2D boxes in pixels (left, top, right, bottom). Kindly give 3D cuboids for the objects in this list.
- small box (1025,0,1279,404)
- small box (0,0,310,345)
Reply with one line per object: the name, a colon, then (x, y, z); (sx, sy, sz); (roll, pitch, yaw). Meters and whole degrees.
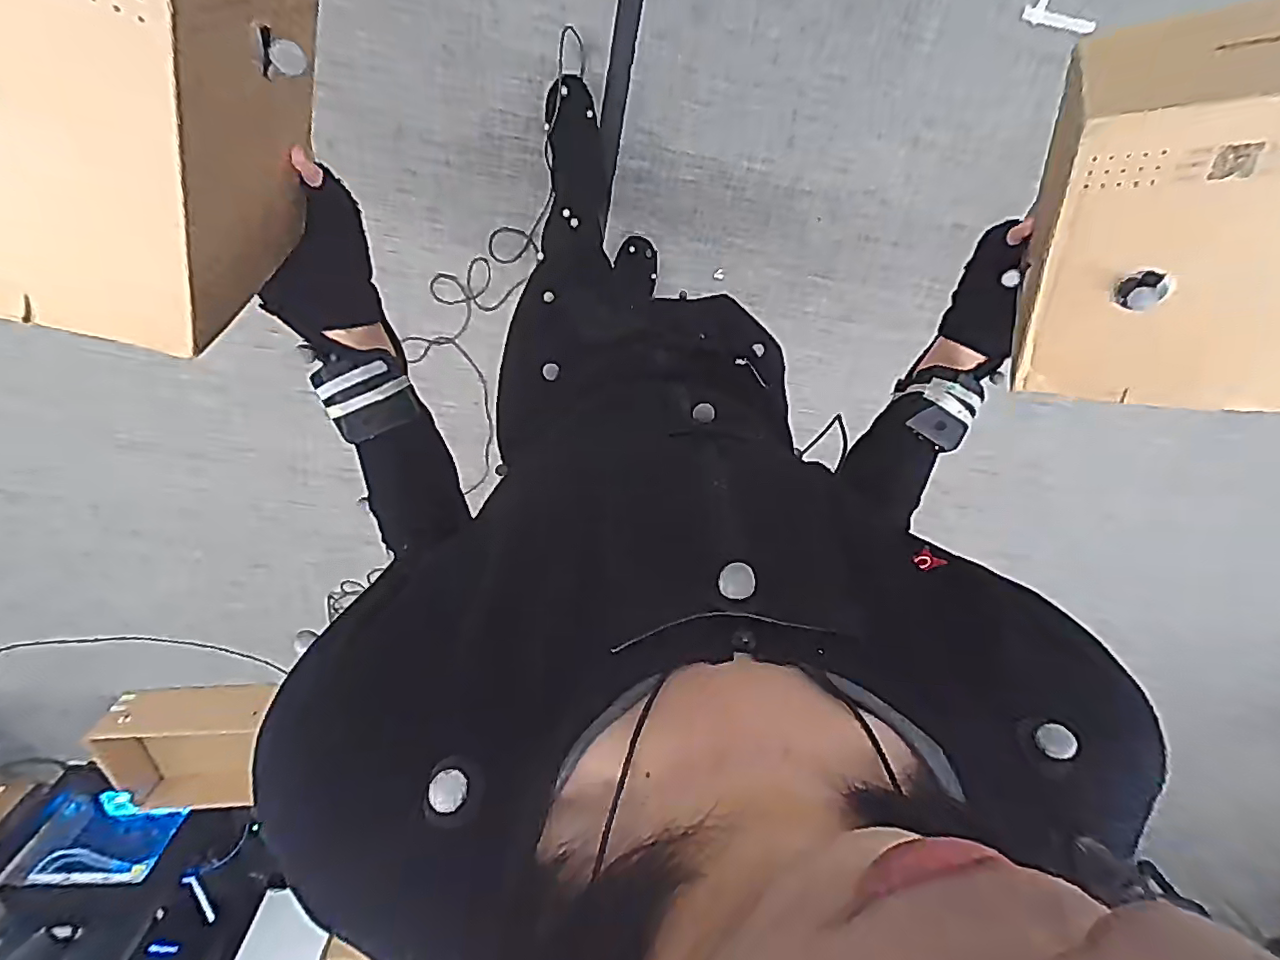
small box: (0.336, -0.163, 0.306); (0.168, 0.179, 0.176); (11, 141, 28)
small box: (-0.261, -0.194, 0.233); (0.168, 0.179, 0.176); (15, 129, -23)
